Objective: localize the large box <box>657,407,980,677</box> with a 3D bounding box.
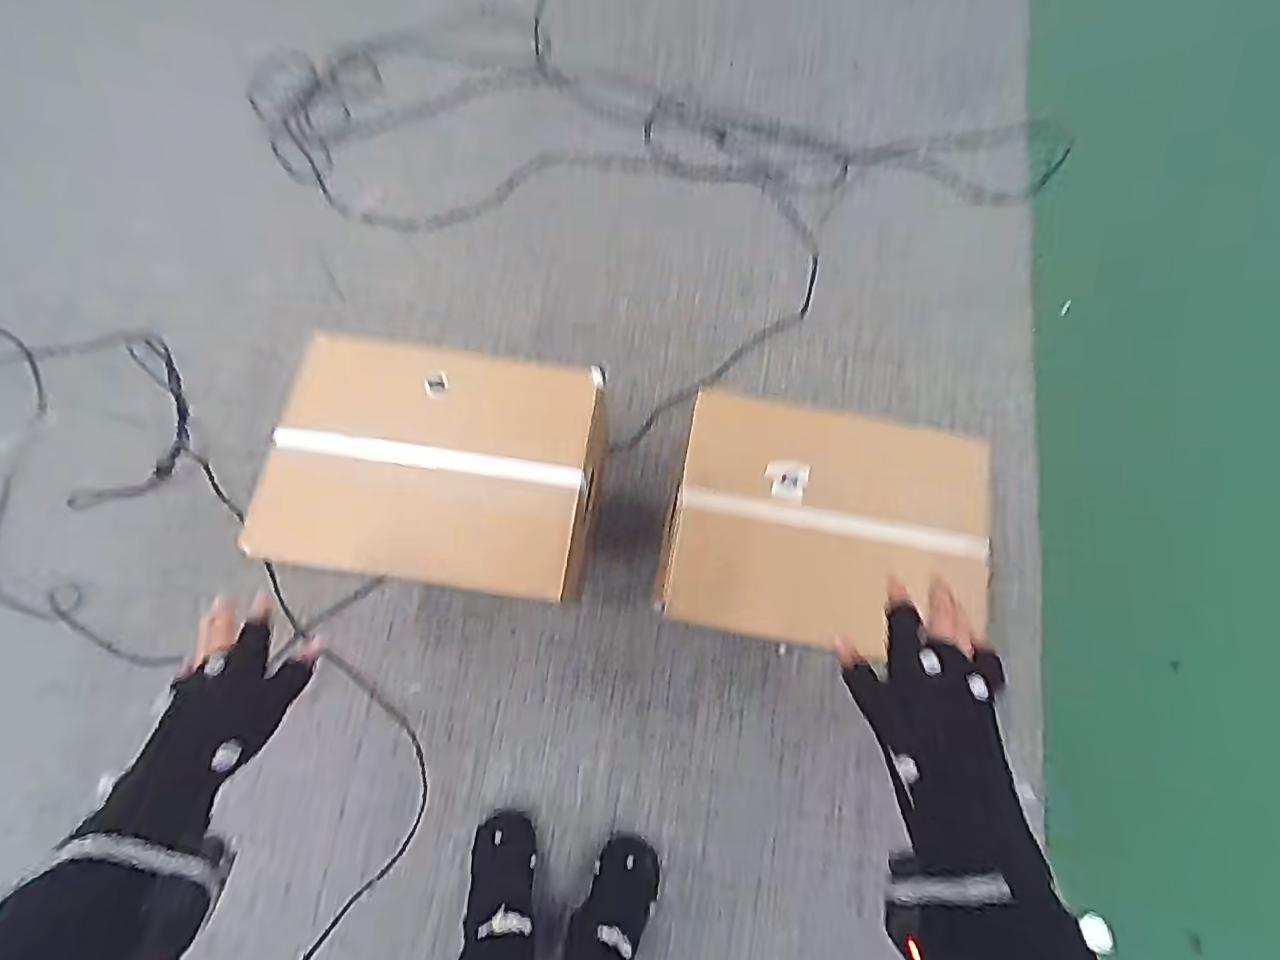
[{"bbox_3d":[0.255,0.108,0.873,0.408,0.320,0.320,11,75,2],"label":"large box"}]
